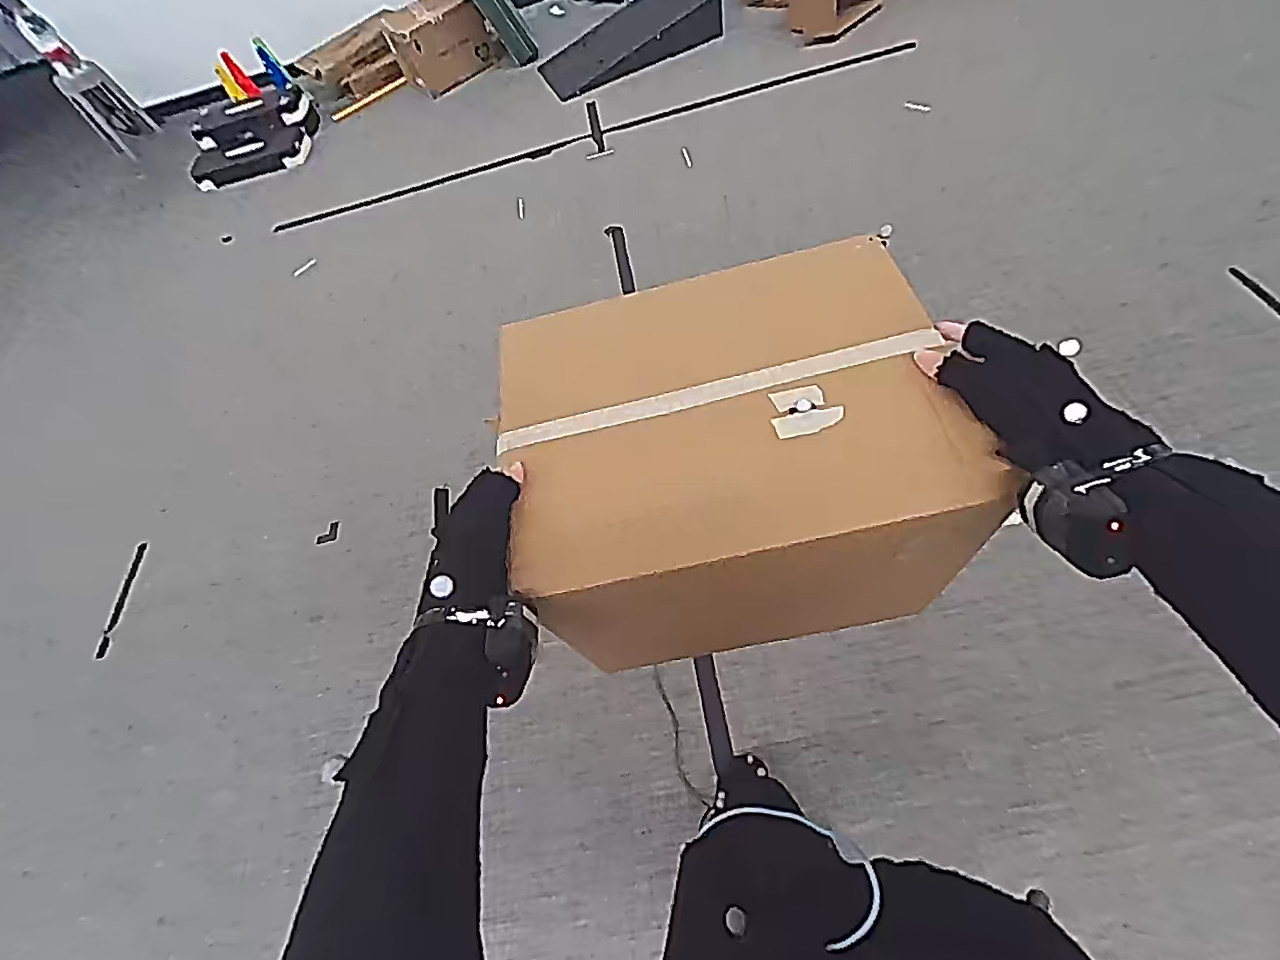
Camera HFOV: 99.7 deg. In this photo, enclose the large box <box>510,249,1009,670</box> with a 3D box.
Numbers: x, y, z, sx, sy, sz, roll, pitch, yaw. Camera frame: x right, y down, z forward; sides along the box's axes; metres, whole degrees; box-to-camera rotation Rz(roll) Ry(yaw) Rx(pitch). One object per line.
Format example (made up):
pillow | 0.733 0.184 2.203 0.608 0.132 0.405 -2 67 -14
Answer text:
large box | 0.097 0.000 0.634 0.408 0.320 0.320 -13 59 4
